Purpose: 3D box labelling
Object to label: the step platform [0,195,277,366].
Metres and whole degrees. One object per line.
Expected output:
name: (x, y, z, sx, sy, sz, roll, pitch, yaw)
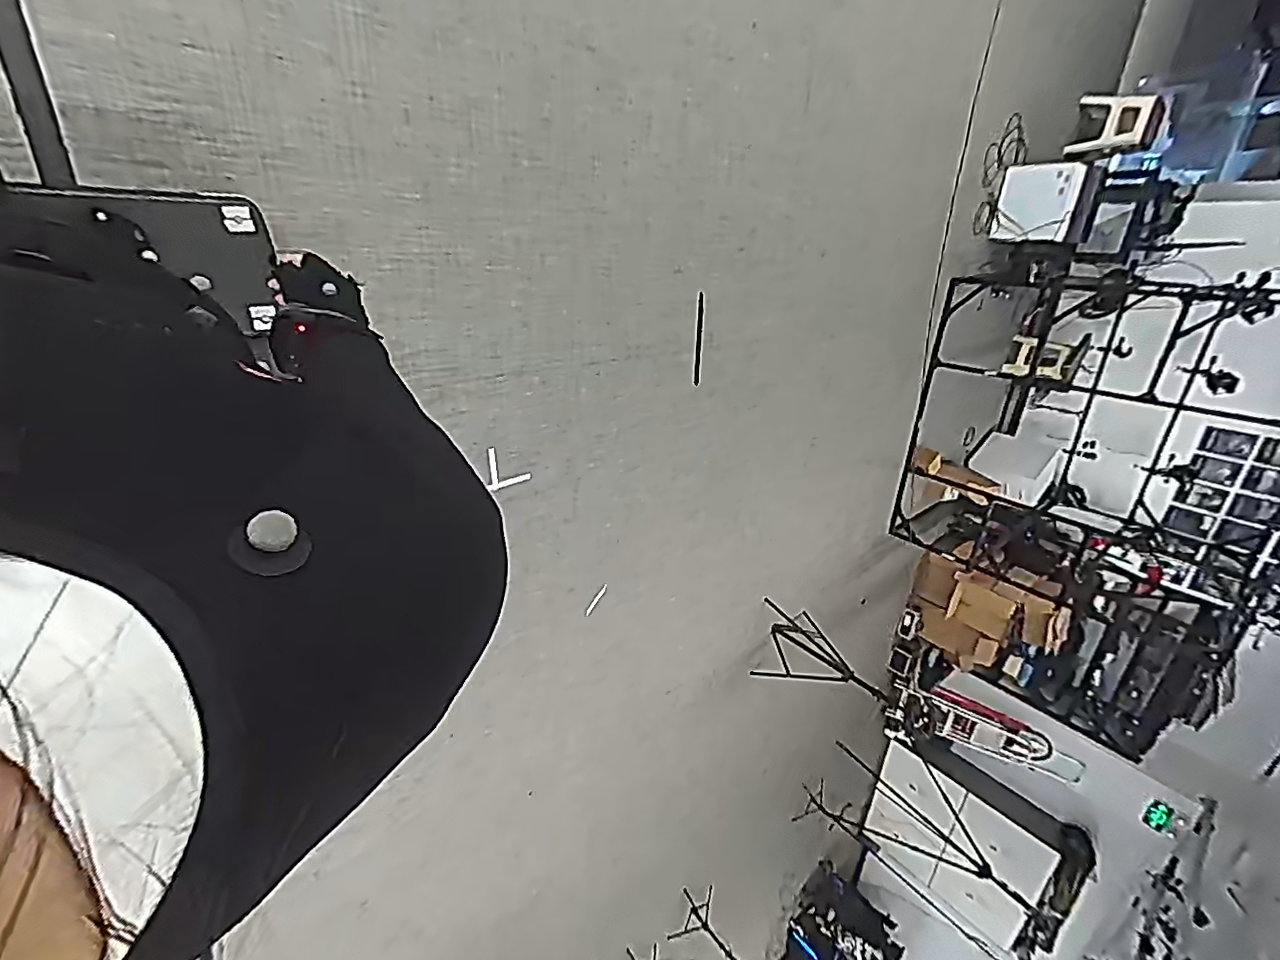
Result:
step platform: (-1.106, -0.385, 1.032, 0.684, 0.204, 0.286, -19, 122, -37)
